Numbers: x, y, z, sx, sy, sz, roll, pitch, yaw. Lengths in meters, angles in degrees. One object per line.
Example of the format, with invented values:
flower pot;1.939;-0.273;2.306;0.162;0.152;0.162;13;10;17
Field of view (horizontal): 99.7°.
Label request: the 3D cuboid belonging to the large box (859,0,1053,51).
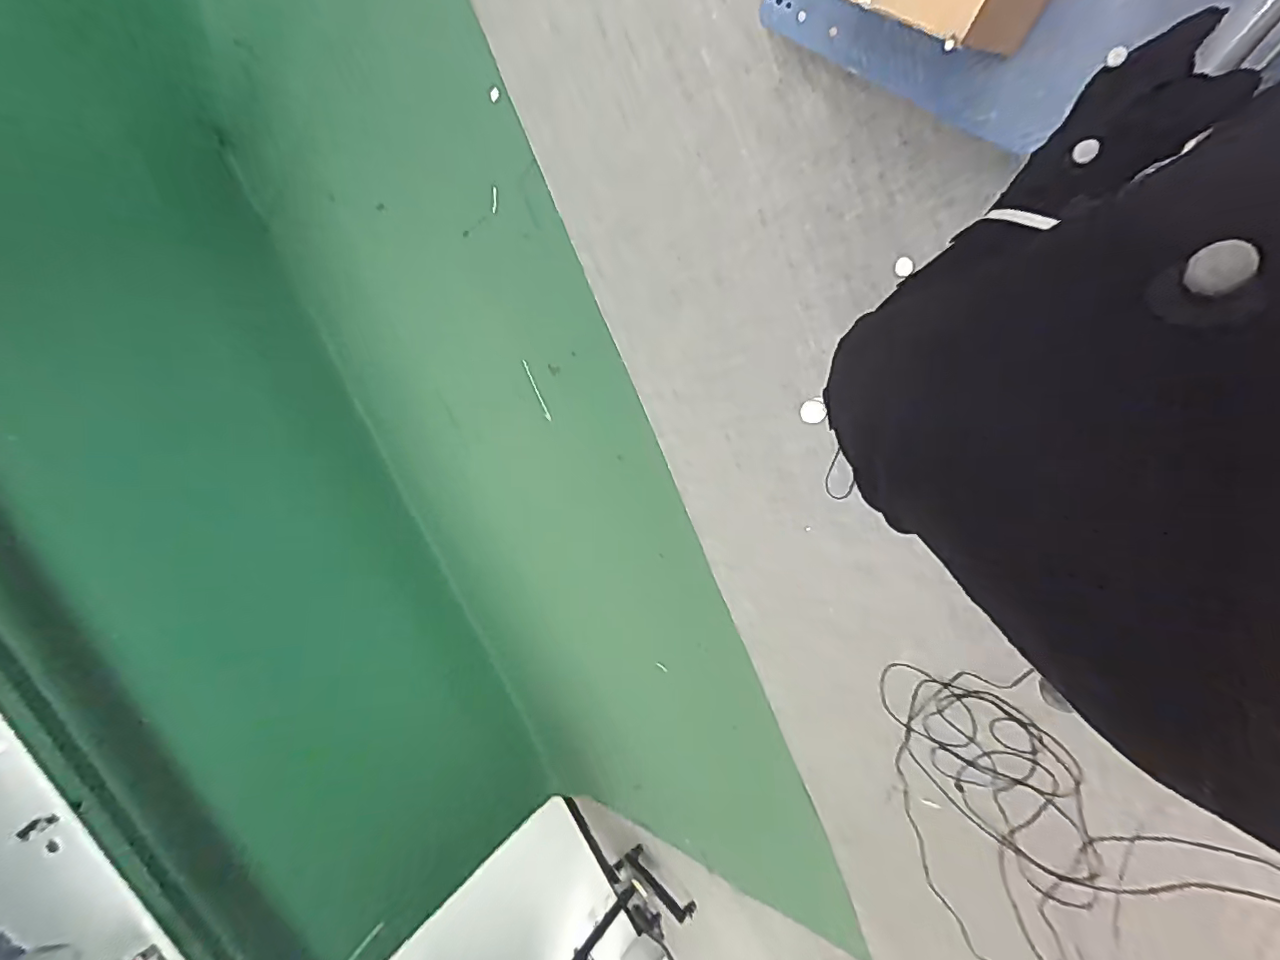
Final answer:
large box;0.492;-0.885;0.735;0.320;0.320;0.408;42;140;19
